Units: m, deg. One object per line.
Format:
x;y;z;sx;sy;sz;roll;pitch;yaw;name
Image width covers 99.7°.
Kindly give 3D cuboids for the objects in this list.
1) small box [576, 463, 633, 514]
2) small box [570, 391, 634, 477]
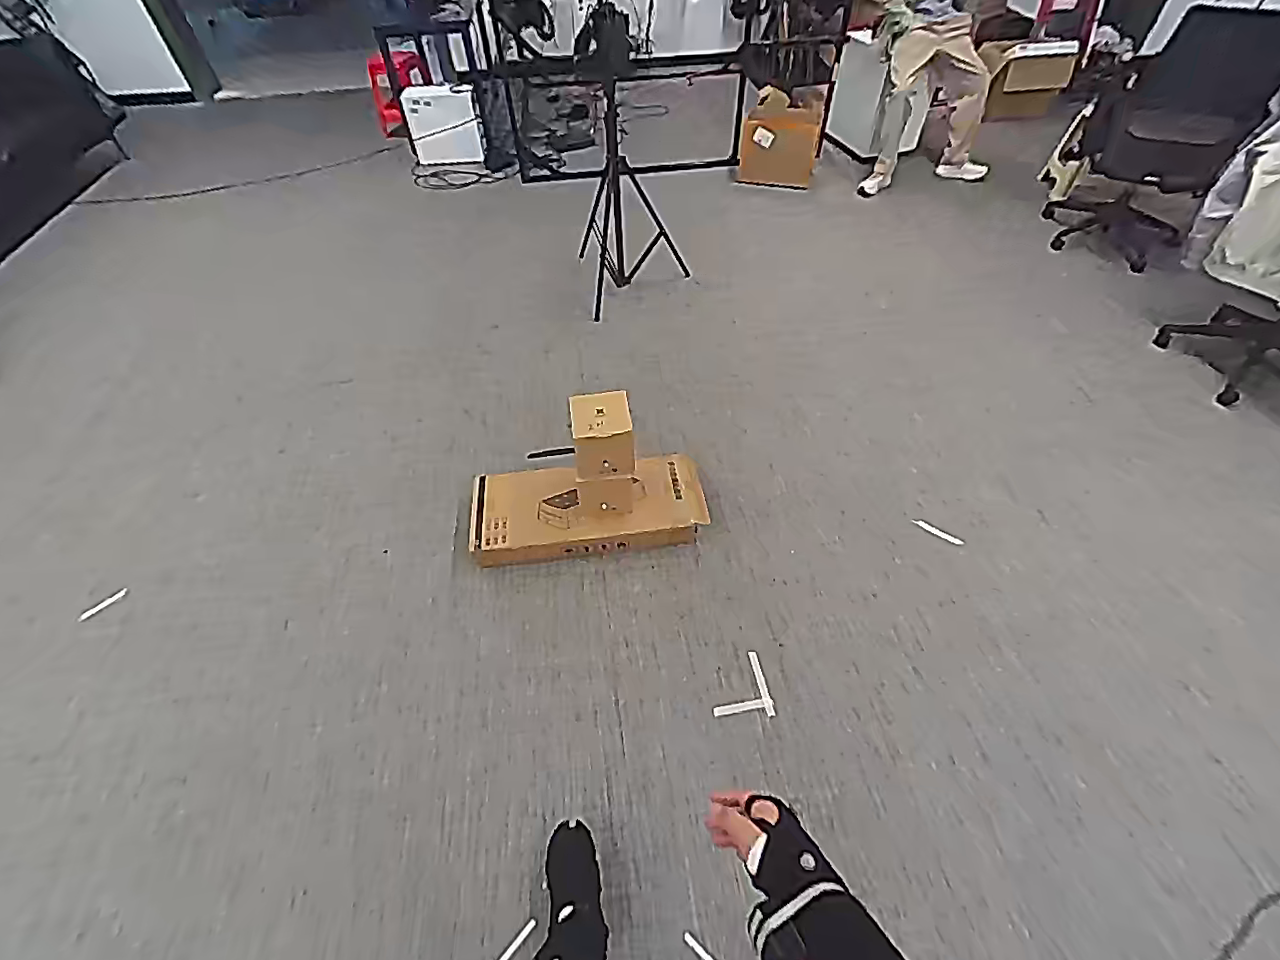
-0.108;-0.014;1.690;0.168;0.176;0.179;-4;51;-1;small box
-0.109;-0.132;1.573;0.168;0.176;0.179;-8;50;-4;small box
